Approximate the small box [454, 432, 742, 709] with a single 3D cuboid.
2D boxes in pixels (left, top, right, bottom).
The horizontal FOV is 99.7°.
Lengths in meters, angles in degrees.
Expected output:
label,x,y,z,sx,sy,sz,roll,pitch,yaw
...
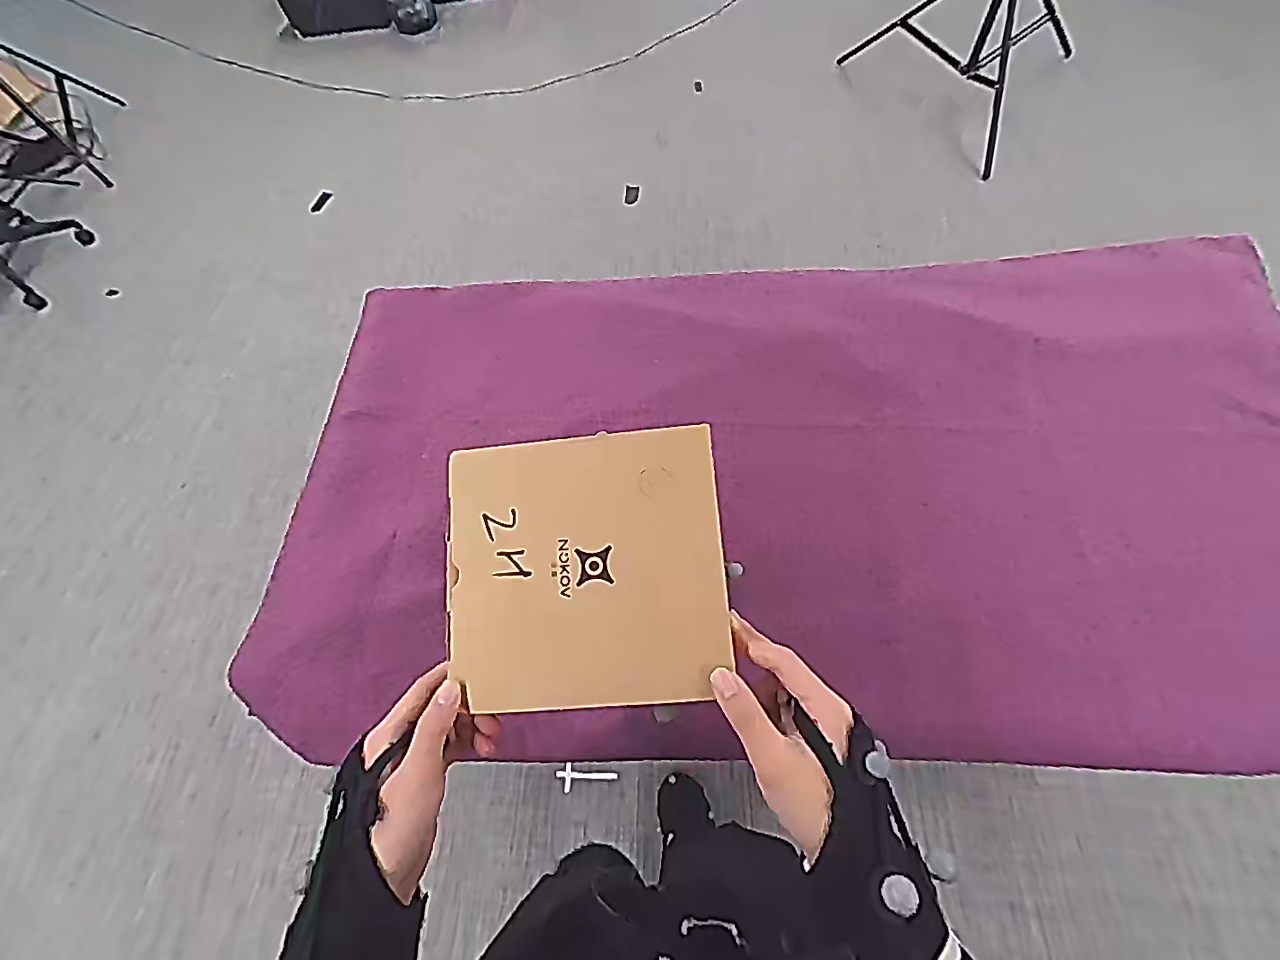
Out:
label,x,y,z,sx,sy,sz,roll,pitch,yaw
small box,-0.022,0.071,0.415,0.179,0.176,0.168,-5,76,6
